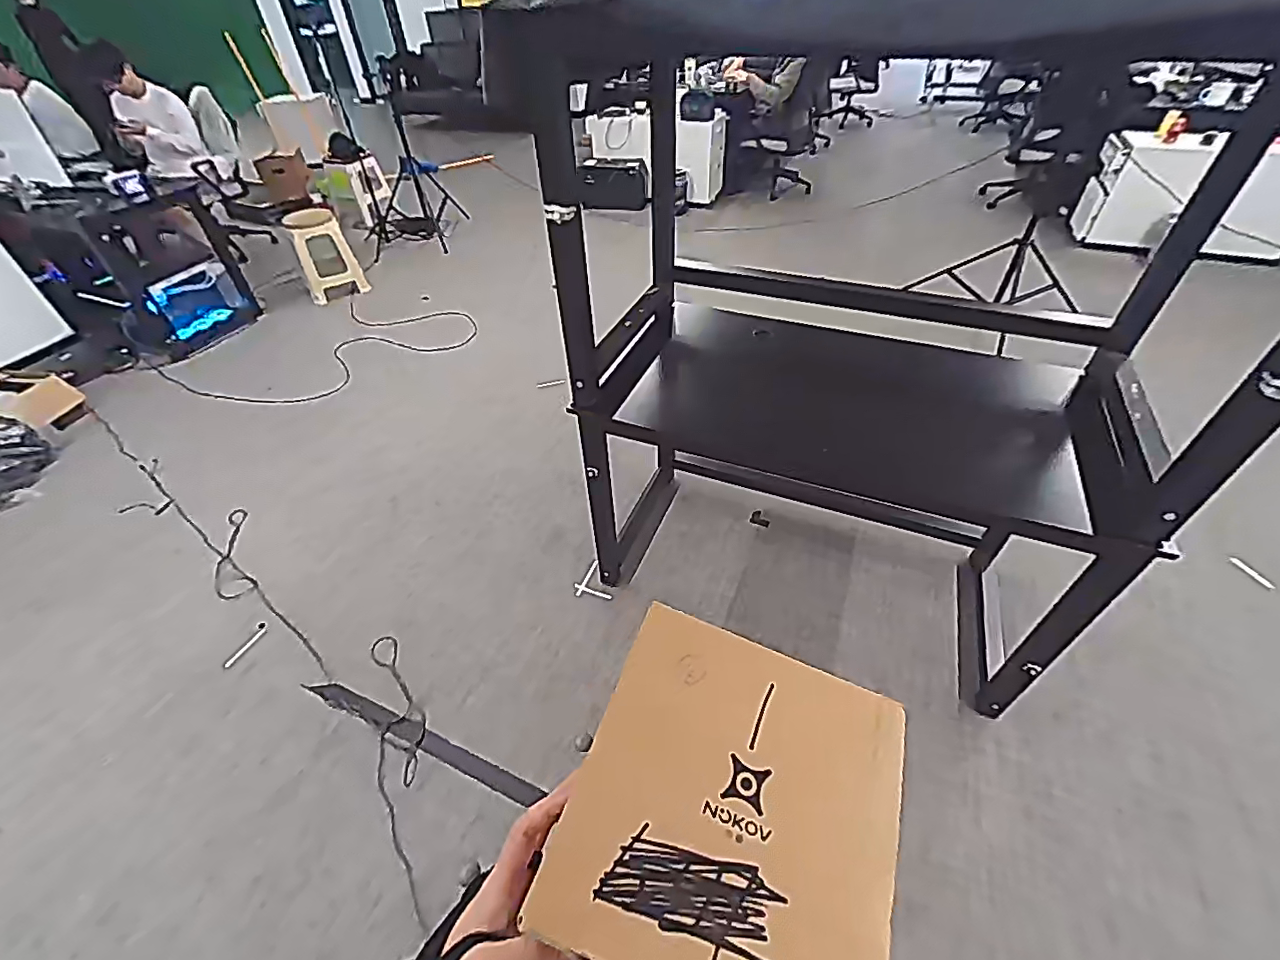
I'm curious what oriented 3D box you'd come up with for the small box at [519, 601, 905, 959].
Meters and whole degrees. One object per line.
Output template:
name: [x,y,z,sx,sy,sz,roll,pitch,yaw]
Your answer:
small box: [0.043,0.216,0.345,0.168,0.176,0.179,21,52,8]
